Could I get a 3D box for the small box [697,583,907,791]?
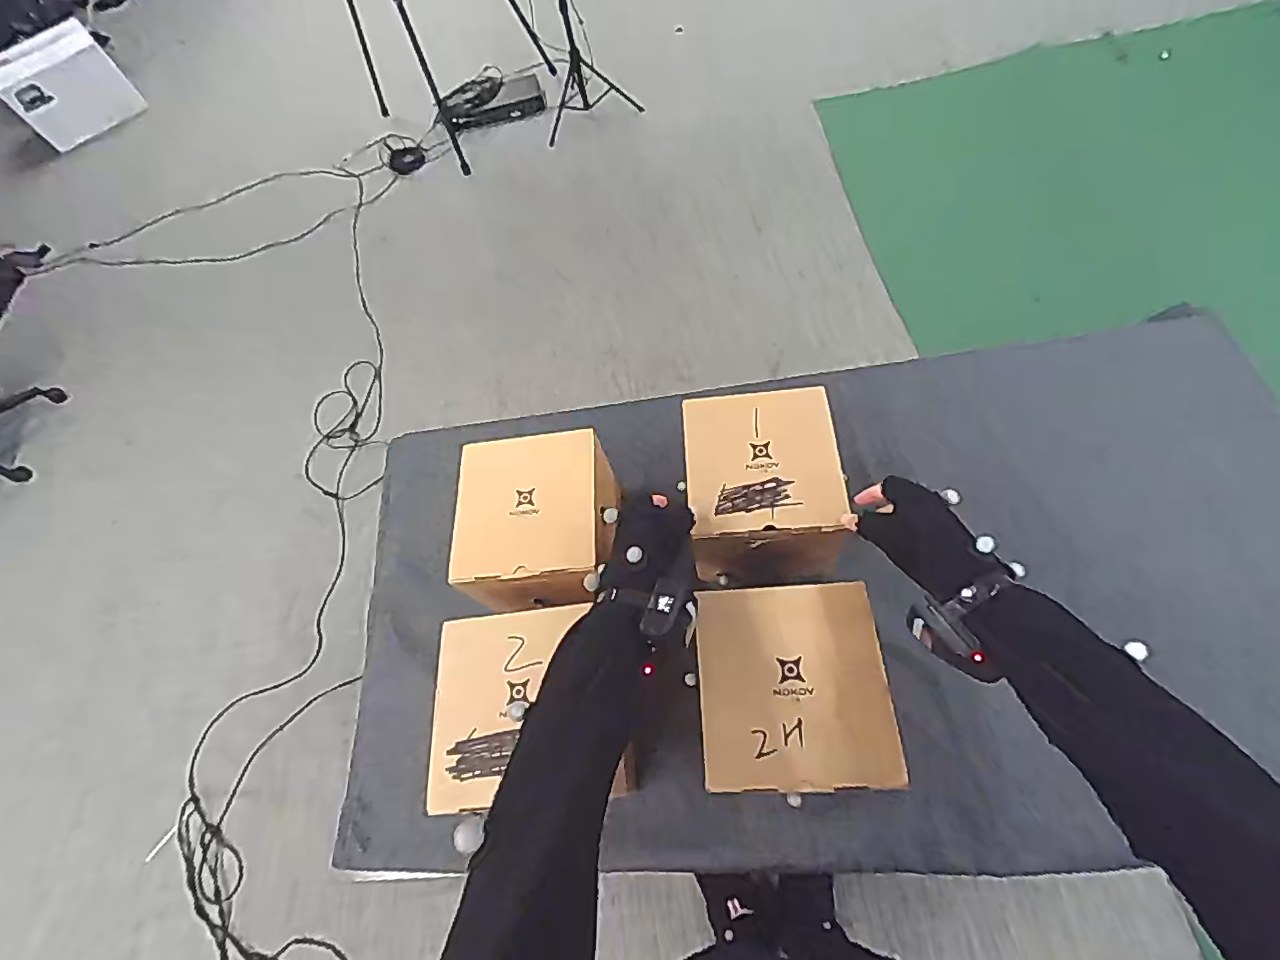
[{"bbox_3d":[0.147,0.217,0.557,0.168,0.176,0.179,-5,62,7],"label":"small box"}]
